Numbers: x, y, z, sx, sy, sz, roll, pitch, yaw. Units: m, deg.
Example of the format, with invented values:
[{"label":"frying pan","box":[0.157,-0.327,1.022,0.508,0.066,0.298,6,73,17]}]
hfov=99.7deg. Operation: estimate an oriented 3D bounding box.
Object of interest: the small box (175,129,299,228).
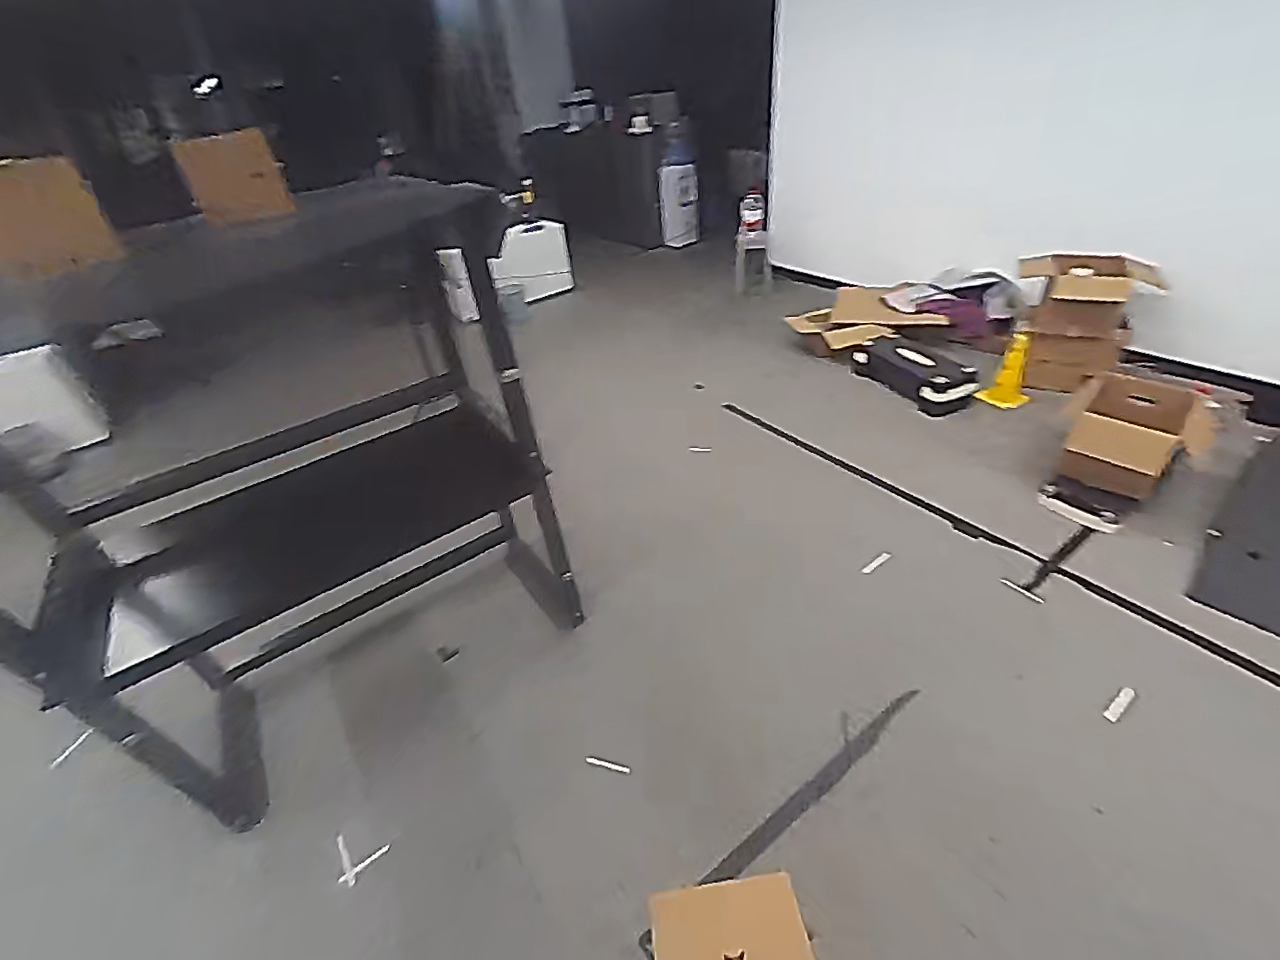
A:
[{"label":"small box","box":[-0.904,-0.688,1.229,0.179,0.176,0.168,-25,40,-23]}]

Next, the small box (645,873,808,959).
[{"label":"small box","box":[0.099,0.575,0.584,0.168,0.176,0.179,-7,29,-4]}]
